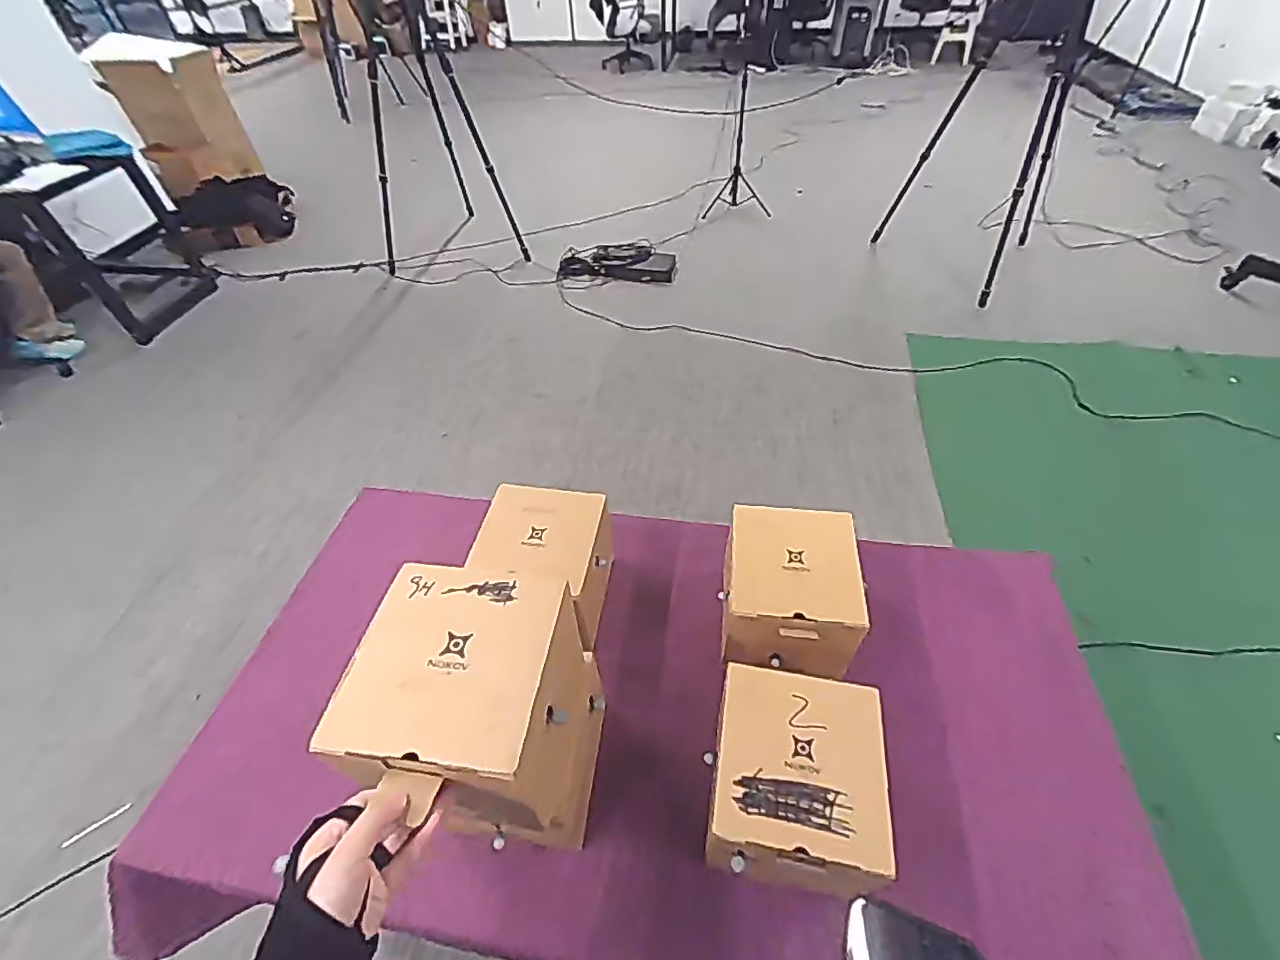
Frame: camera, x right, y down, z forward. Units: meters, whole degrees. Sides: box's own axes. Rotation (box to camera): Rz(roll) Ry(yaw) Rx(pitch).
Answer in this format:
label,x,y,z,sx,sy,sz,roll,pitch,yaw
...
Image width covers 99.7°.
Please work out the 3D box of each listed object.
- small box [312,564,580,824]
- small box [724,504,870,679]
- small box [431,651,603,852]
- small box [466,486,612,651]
label,x,y,z,sx,sy,sz,roll,pitch,yaw
small box,-0.157,0.205,0.516,0.168,0.176,0.179,5,46,6
small box,0.208,0.158,0.767,0.168,0.176,0.179,4,49,7
small box,-0.141,0.315,0.644,0.168,0.176,0.179,3,48,7
small box,-0.139,0.135,0.809,0.168,0.176,0.179,6,48,7
